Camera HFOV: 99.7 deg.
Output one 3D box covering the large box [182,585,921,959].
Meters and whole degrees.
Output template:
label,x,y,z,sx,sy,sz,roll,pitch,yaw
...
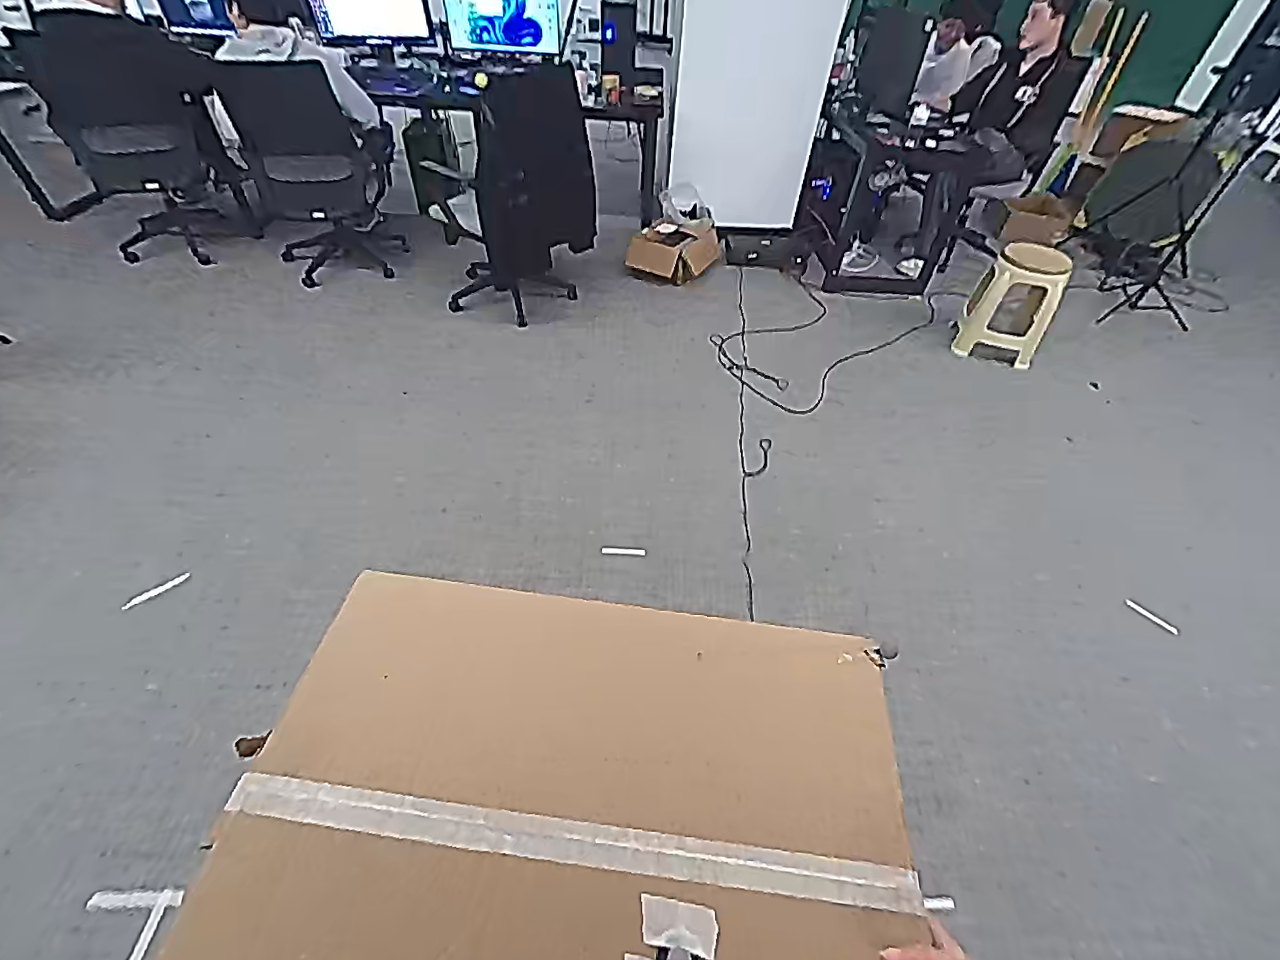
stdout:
label,x,y,z,sx,sy,sz,roll,pitch,yaw
large box,-0.046,0.316,0.441,0.408,0.320,0.320,7,50,2
